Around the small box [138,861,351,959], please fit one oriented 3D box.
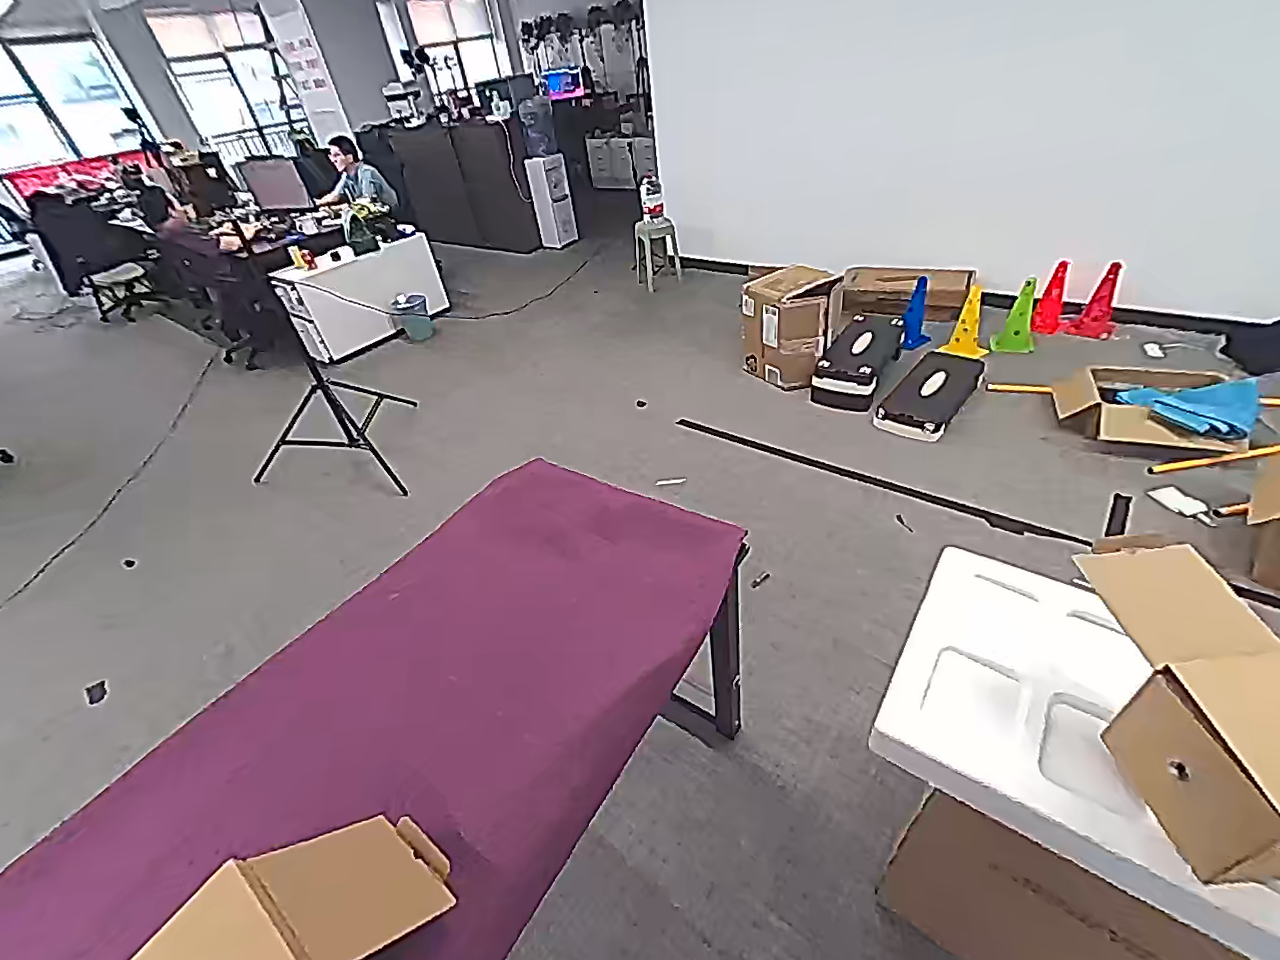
[{"bbox_3d":[-0.399,0.542,0.538,0.168,0.176,0.179,22,46,31],"label":"small box"}]
